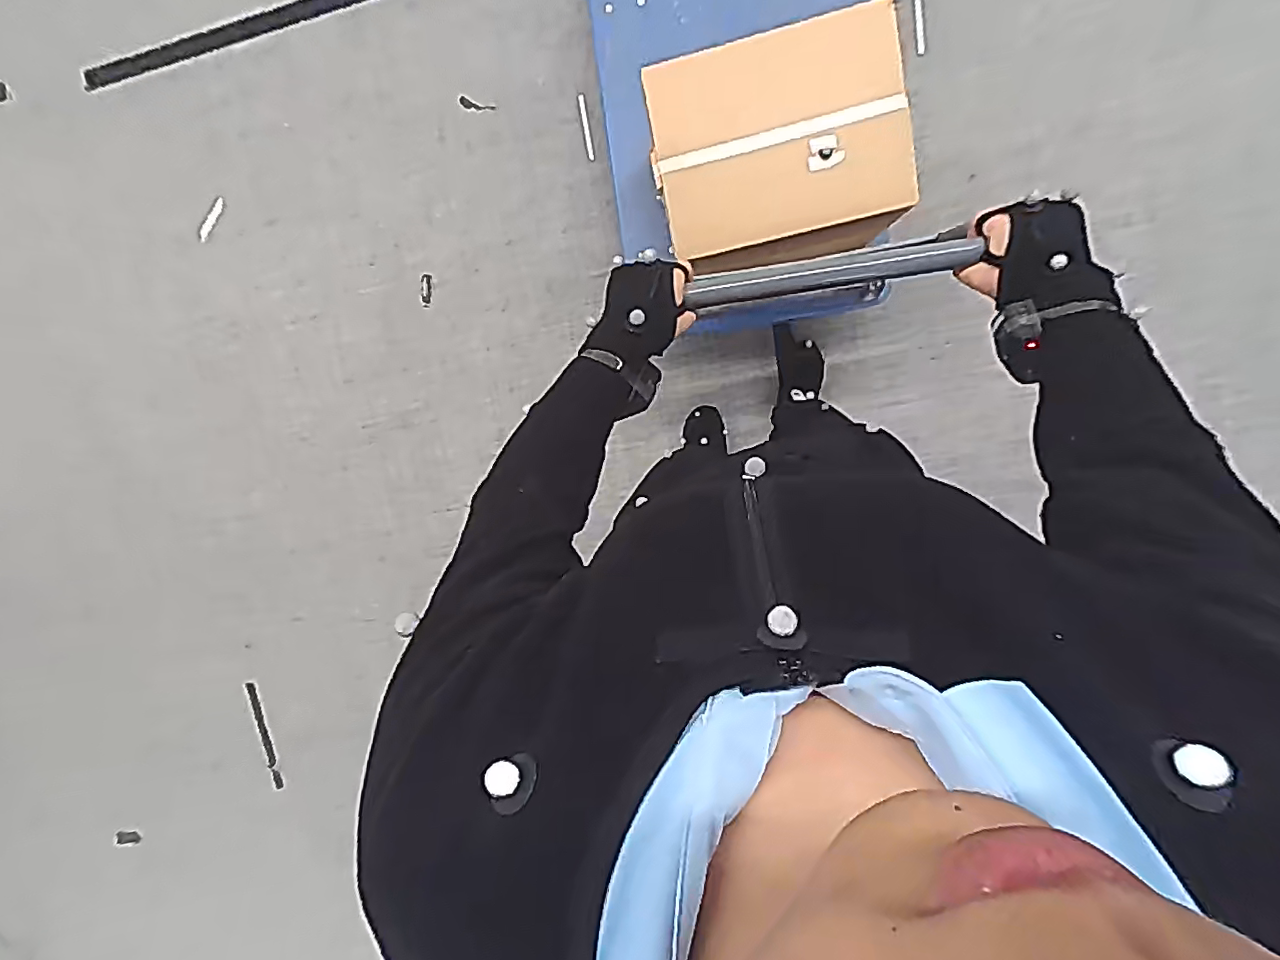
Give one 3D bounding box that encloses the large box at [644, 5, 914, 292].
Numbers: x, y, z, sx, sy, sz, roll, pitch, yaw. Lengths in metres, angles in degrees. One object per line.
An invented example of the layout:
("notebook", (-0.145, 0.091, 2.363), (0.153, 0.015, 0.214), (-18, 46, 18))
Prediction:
("large box", (0.242, -0.586, 1.042), (0.408, 0.320, 0.320), (-11, 100, 7))
